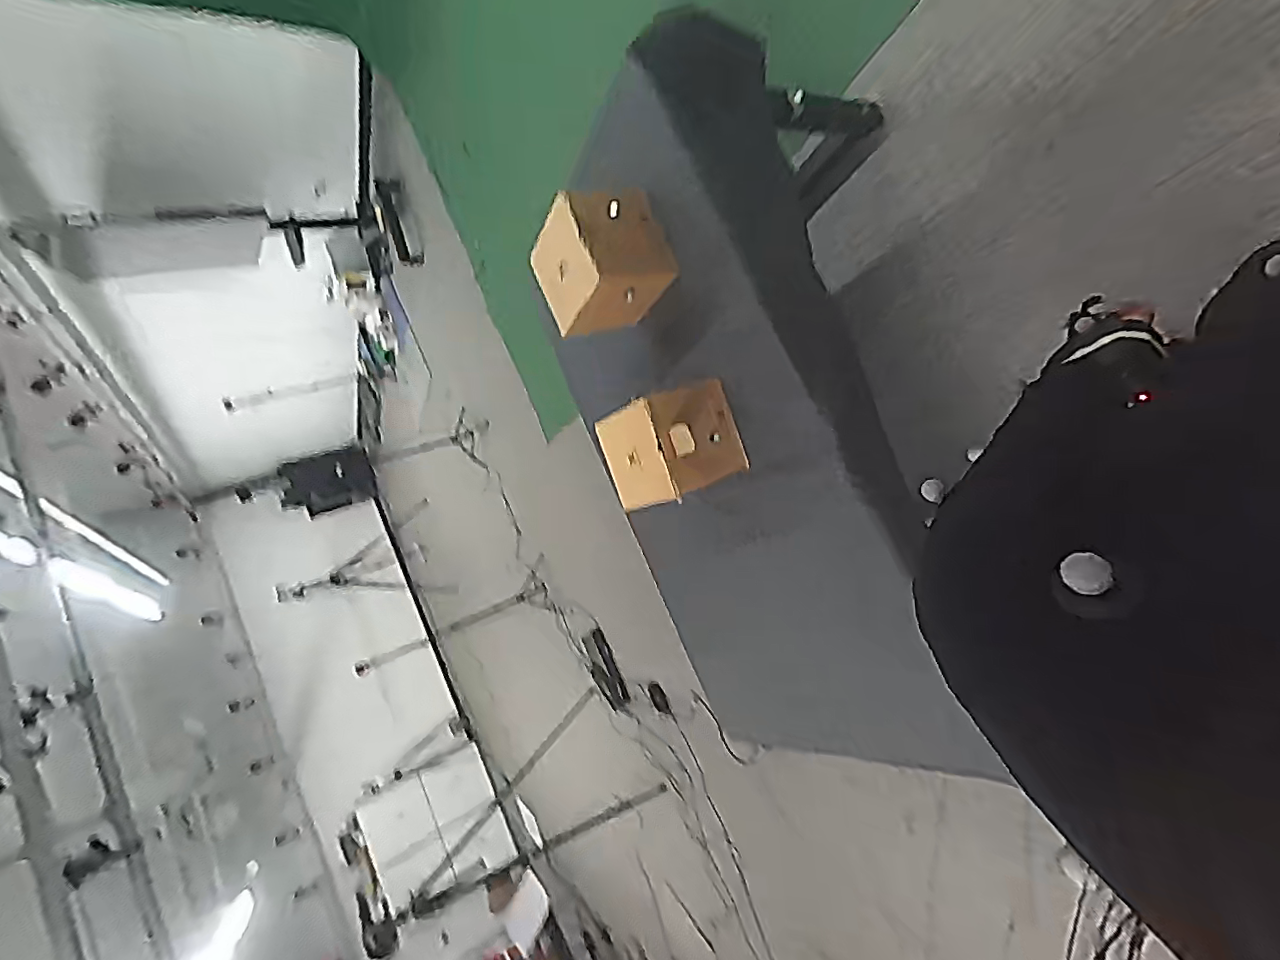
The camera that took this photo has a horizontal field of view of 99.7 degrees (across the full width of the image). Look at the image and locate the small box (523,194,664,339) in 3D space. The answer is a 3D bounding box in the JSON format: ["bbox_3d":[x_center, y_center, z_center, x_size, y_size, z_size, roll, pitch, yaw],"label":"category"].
[{"bbox_3d":[-0.078,-0.375,0.950,0.179,0.176,0.168,-35,77,58],"label":"small box"}]

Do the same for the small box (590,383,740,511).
[{"bbox_3d":[0.043,-0.056,0.948,0.179,0.176,0.168,-20,90,57],"label":"small box"}]
